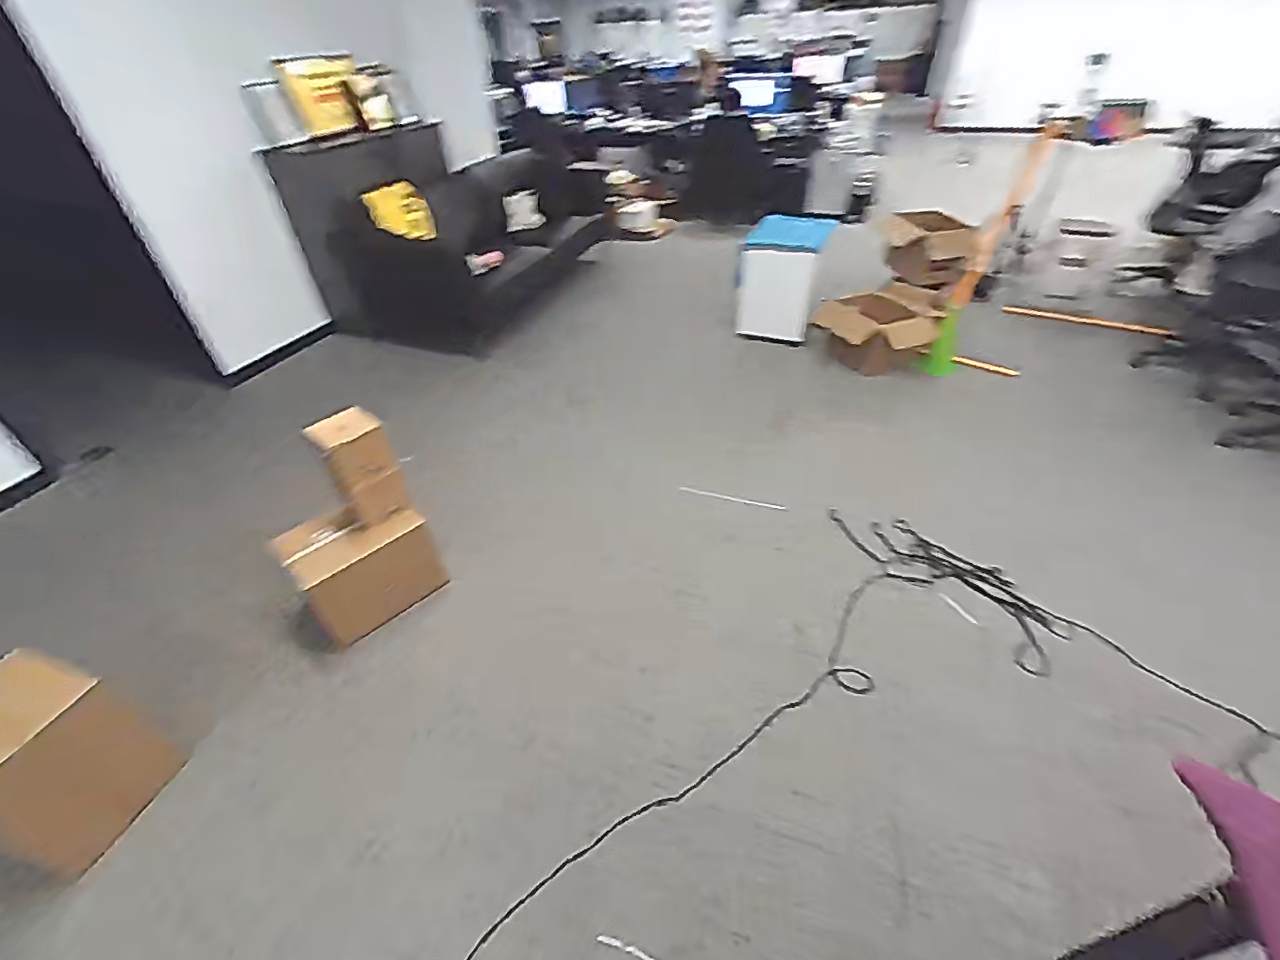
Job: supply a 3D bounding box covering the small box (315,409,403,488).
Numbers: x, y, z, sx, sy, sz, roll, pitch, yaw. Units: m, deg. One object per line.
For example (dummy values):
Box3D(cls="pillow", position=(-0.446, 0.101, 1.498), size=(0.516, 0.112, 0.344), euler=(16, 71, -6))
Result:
Box3D(cls="small box", position=(-0.896, -0.100, 1.730), size=(0.179, 0.176, 0.168), euler=(27, 48, 32))
